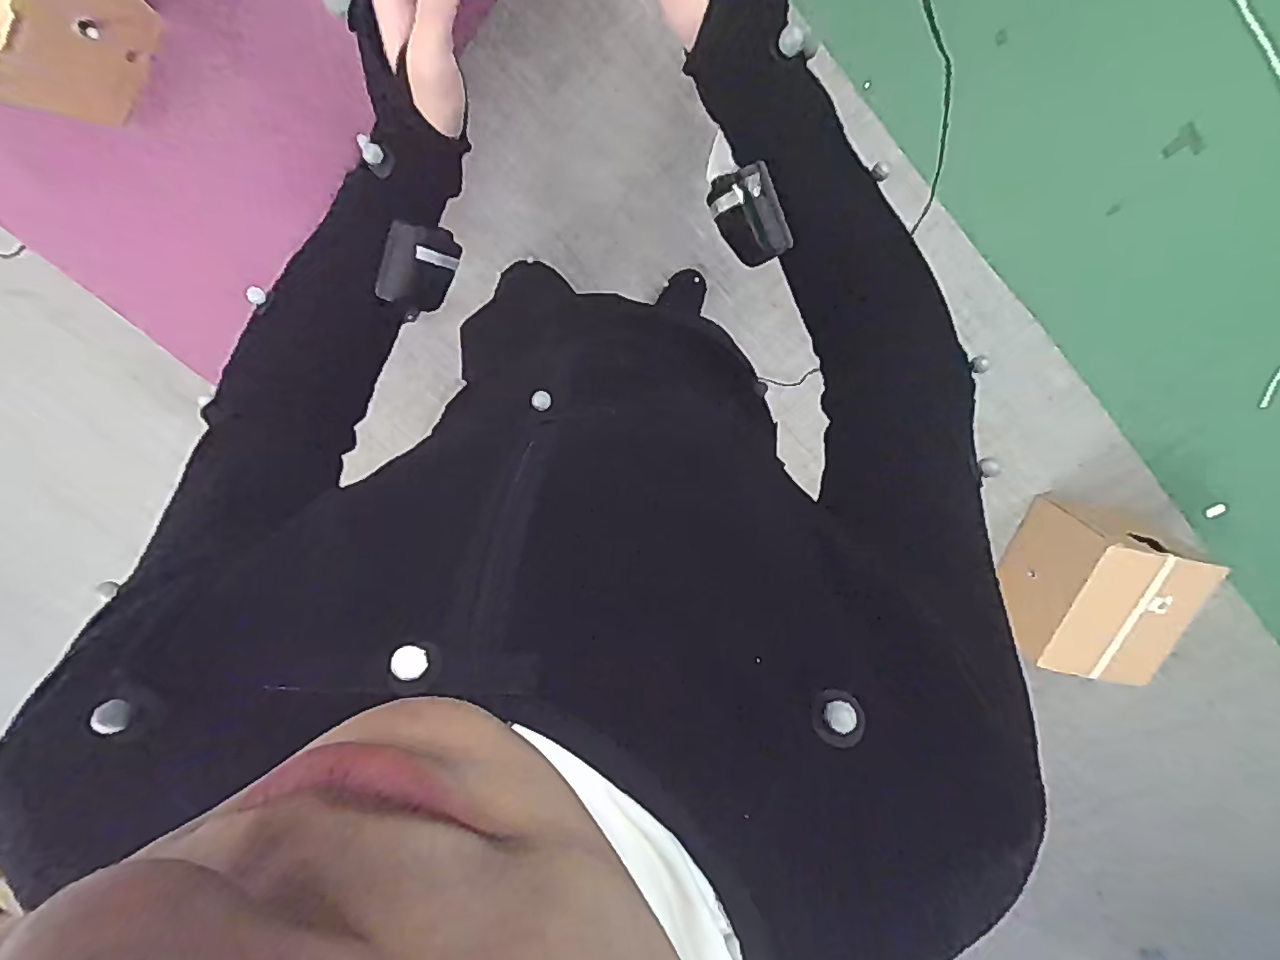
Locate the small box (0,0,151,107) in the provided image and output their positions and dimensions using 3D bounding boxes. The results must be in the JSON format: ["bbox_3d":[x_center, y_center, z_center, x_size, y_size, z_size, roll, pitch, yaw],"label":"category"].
[{"bbox_3d":[-0.740,-0.575,0.628,0.179,0.176,0.168,42,109,-13],"label":"small box"}]

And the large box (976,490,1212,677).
[{"bbox_3d":[1.277,0.292,1.578,0.320,0.320,0.408,11,113,-2],"label":"large box"}]
